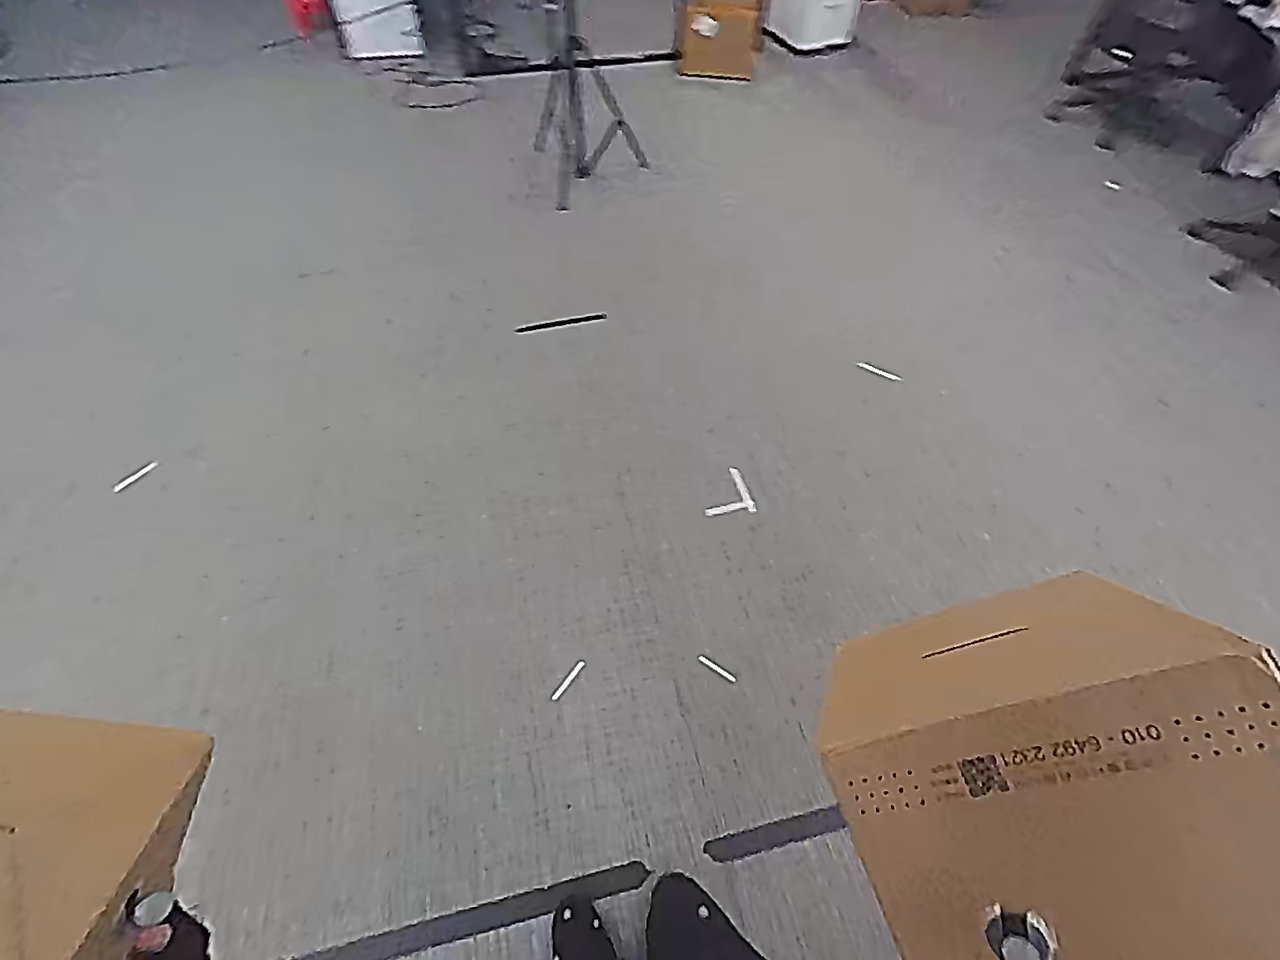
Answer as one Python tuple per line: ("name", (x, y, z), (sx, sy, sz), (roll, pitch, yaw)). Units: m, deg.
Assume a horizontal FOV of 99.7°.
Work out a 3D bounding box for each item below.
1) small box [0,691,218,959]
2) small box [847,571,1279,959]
("small box", (-0.328, 0.211, 0.230), (0.168, 0.179, 0.176), (20, 90, -21))
("small box", (0.218, 0.157, 0.276), (0.168, 0.179, 0.176), (-23, 80, 22))
